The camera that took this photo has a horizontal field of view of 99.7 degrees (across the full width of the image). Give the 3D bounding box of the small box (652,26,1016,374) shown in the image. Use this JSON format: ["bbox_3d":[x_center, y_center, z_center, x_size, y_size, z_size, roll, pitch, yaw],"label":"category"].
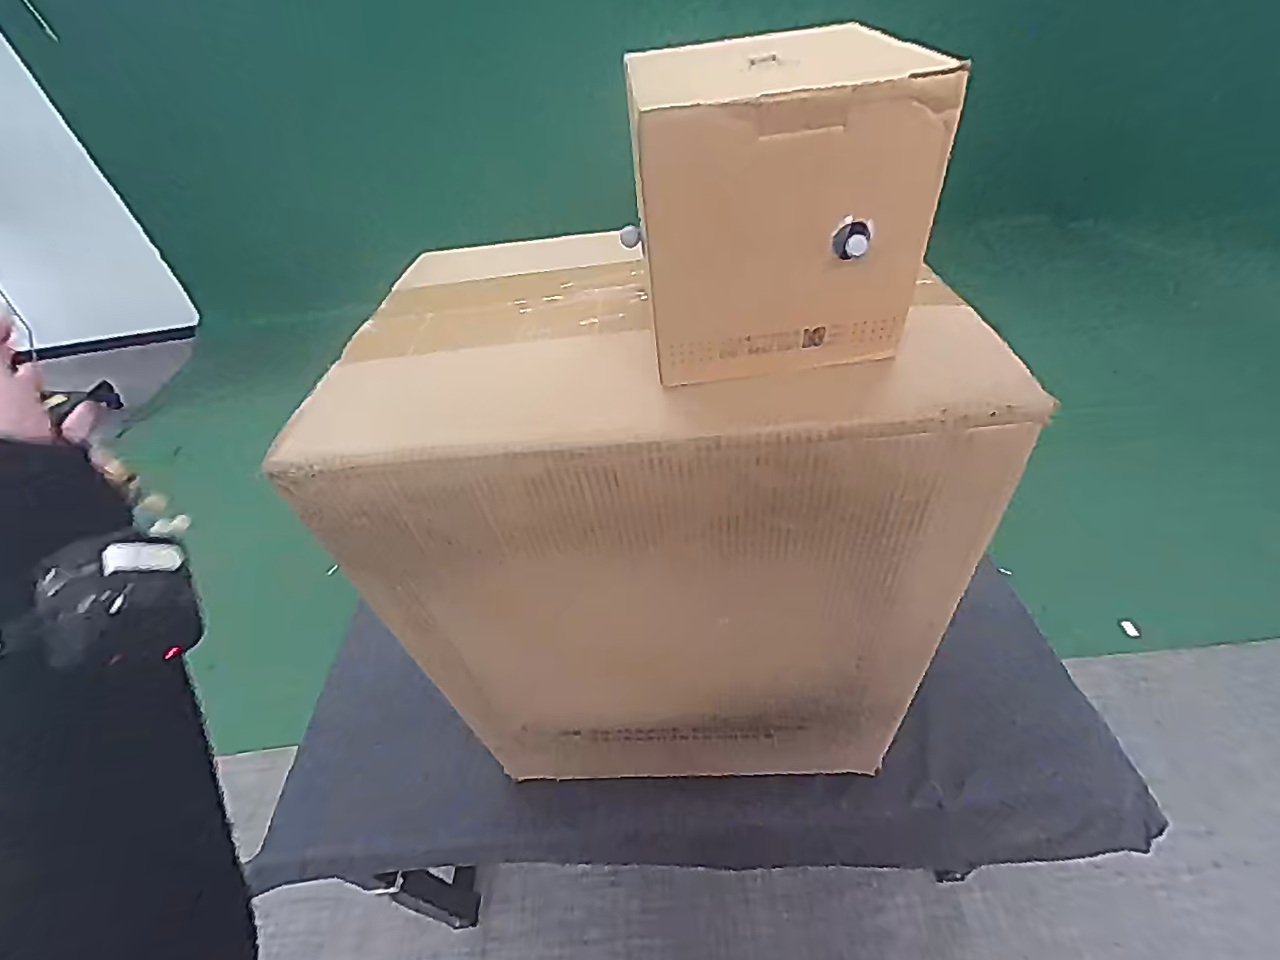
[{"bbox_3d":[0.100,-0.185,0.371,0.168,0.176,0.179,-5,45,-1],"label":"small box"}]
